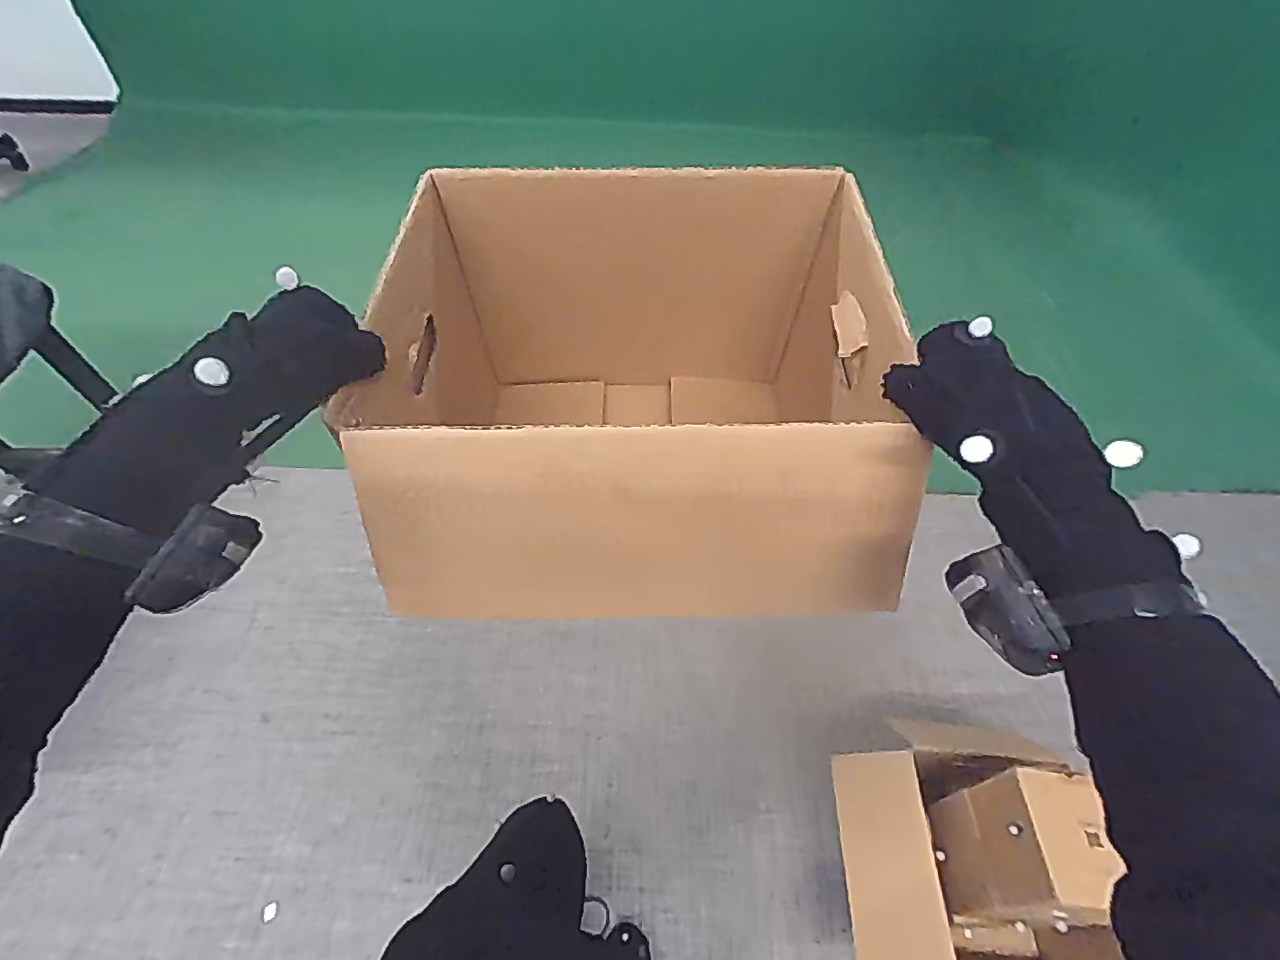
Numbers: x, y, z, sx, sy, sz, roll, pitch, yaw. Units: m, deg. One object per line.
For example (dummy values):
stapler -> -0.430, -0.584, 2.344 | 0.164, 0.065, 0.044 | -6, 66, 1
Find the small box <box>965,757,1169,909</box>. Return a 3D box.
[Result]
small box -> 0.662, 0.570, 0.871 | 0.168, 0.176, 0.179 | 4, 50, 3
